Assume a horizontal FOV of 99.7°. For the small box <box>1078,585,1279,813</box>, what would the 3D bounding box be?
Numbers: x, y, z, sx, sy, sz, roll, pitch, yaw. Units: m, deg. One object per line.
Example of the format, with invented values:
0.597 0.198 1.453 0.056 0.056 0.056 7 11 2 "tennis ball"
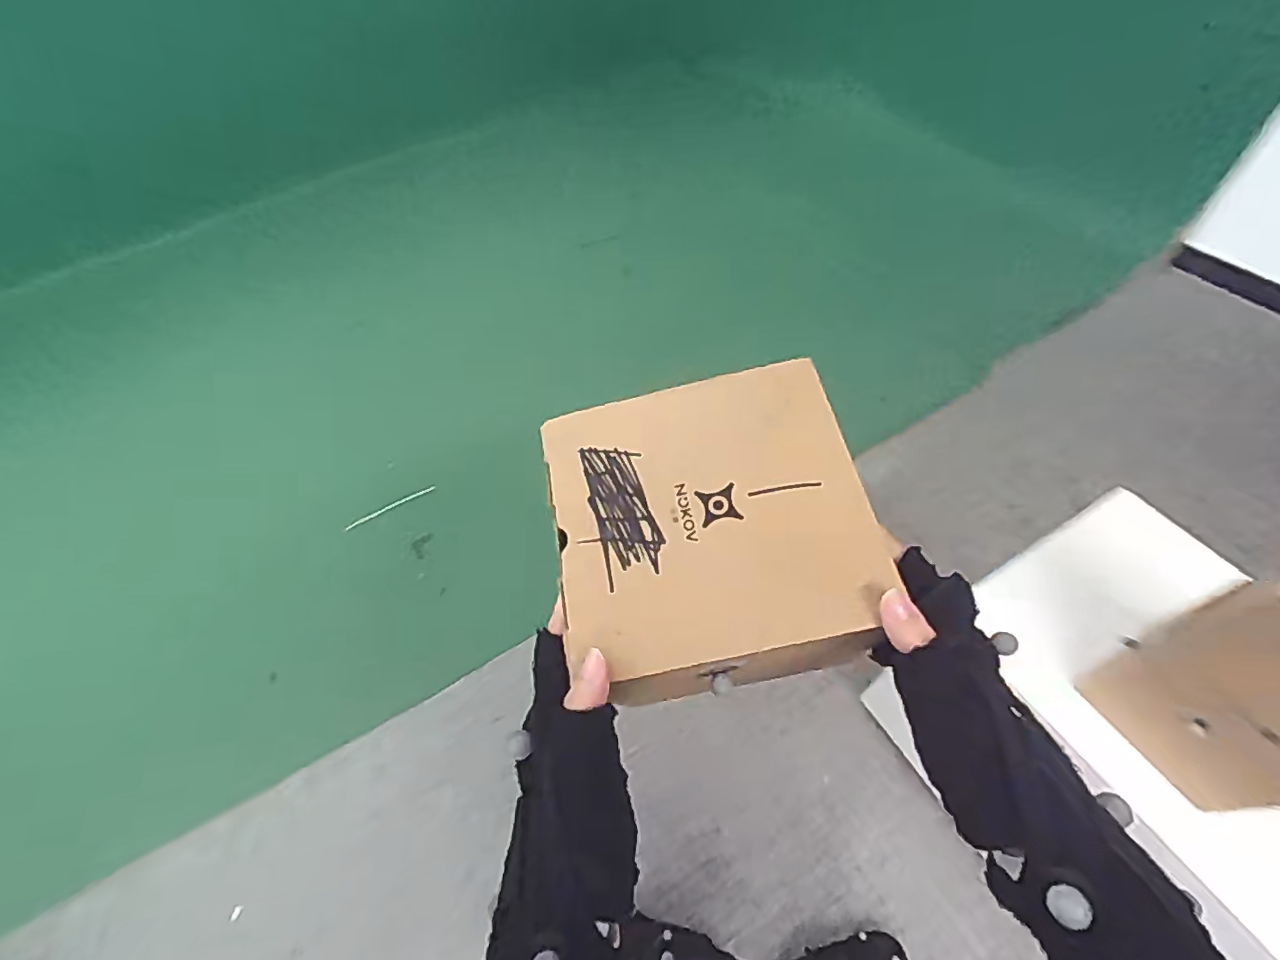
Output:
0.684 0.261 0.637 0.168 0.176 0.179 -28 57 -11 "small box"
